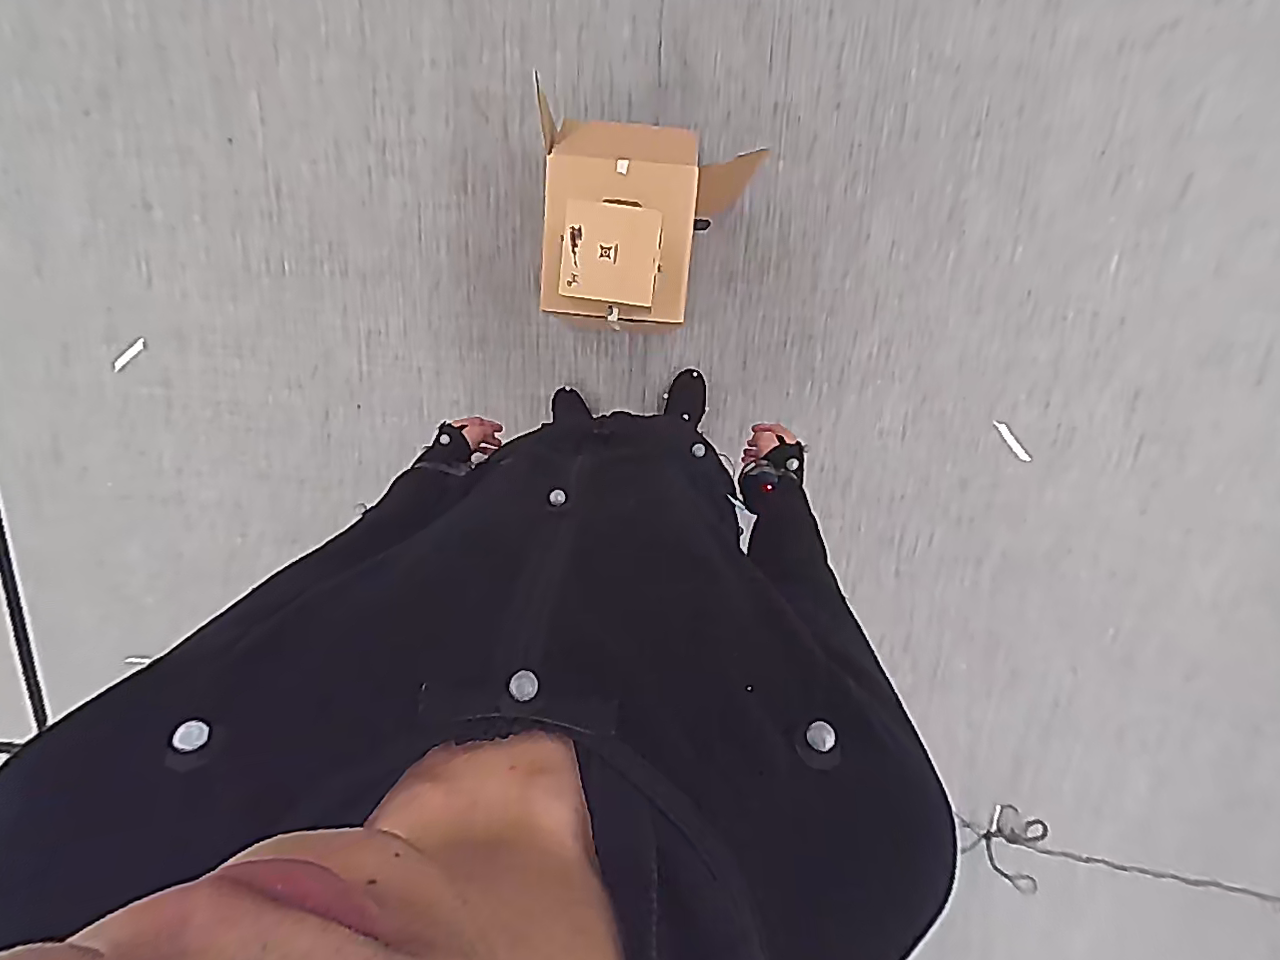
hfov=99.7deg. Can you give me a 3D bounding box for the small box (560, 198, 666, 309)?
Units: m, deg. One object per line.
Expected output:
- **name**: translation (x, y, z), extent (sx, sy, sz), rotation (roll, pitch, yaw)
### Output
- **small box**: translation (-0.050, -0.432, 1.060), extent (0.179, 0.176, 0.168), rotation (8, 104, -1)
